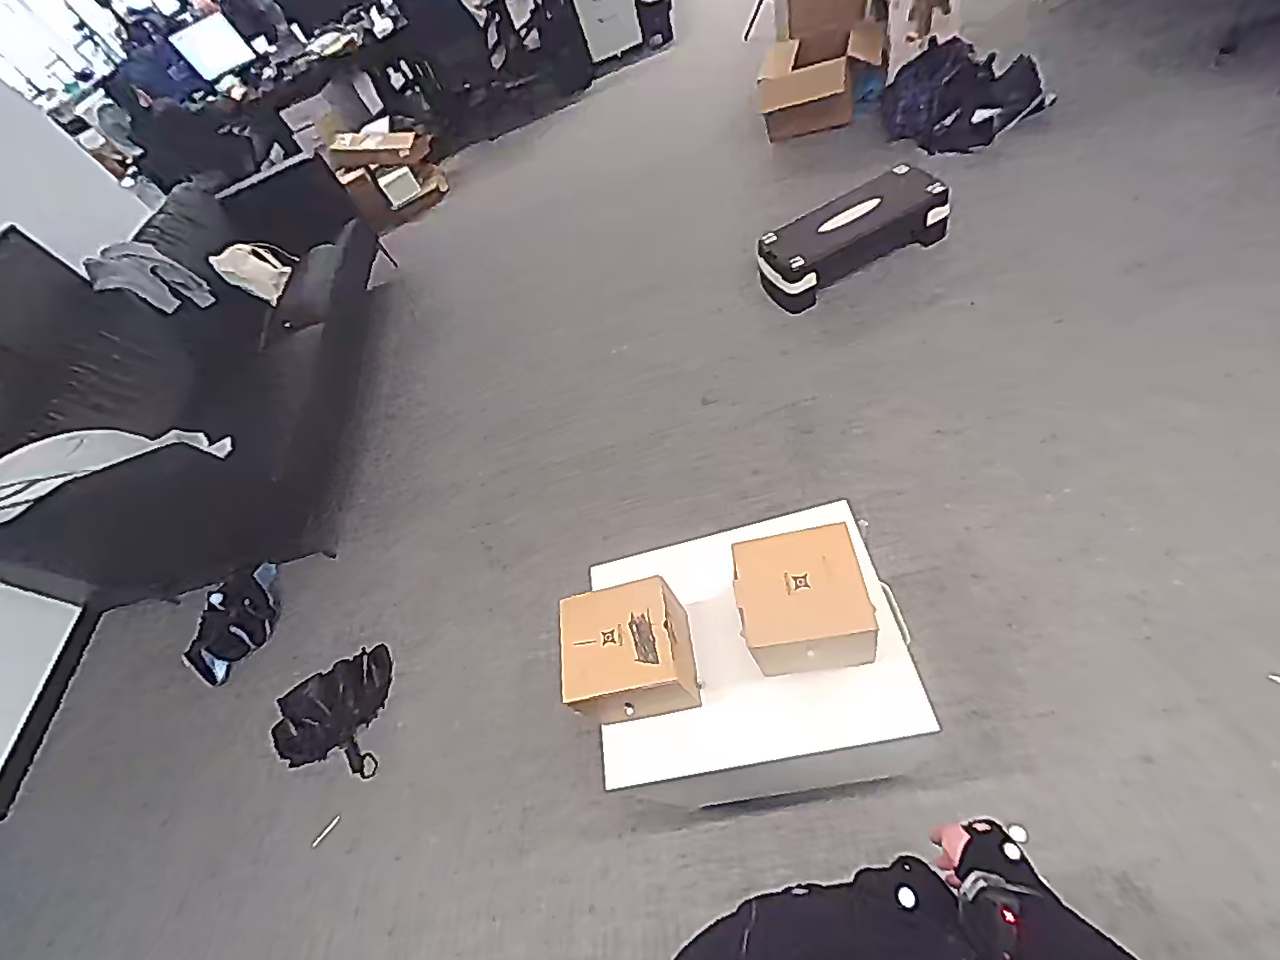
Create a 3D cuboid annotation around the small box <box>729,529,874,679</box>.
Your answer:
[{"bbox_3d":[0.249,0.198,0.834,0.179,0.176,0.168,-13,55,13],"label":"small box"}]

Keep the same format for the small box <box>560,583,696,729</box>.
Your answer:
[{"bbox_3d":[-0.015,0.290,0.875,0.179,0.176,0.168,-16,52,11],"label":"small box"}]
